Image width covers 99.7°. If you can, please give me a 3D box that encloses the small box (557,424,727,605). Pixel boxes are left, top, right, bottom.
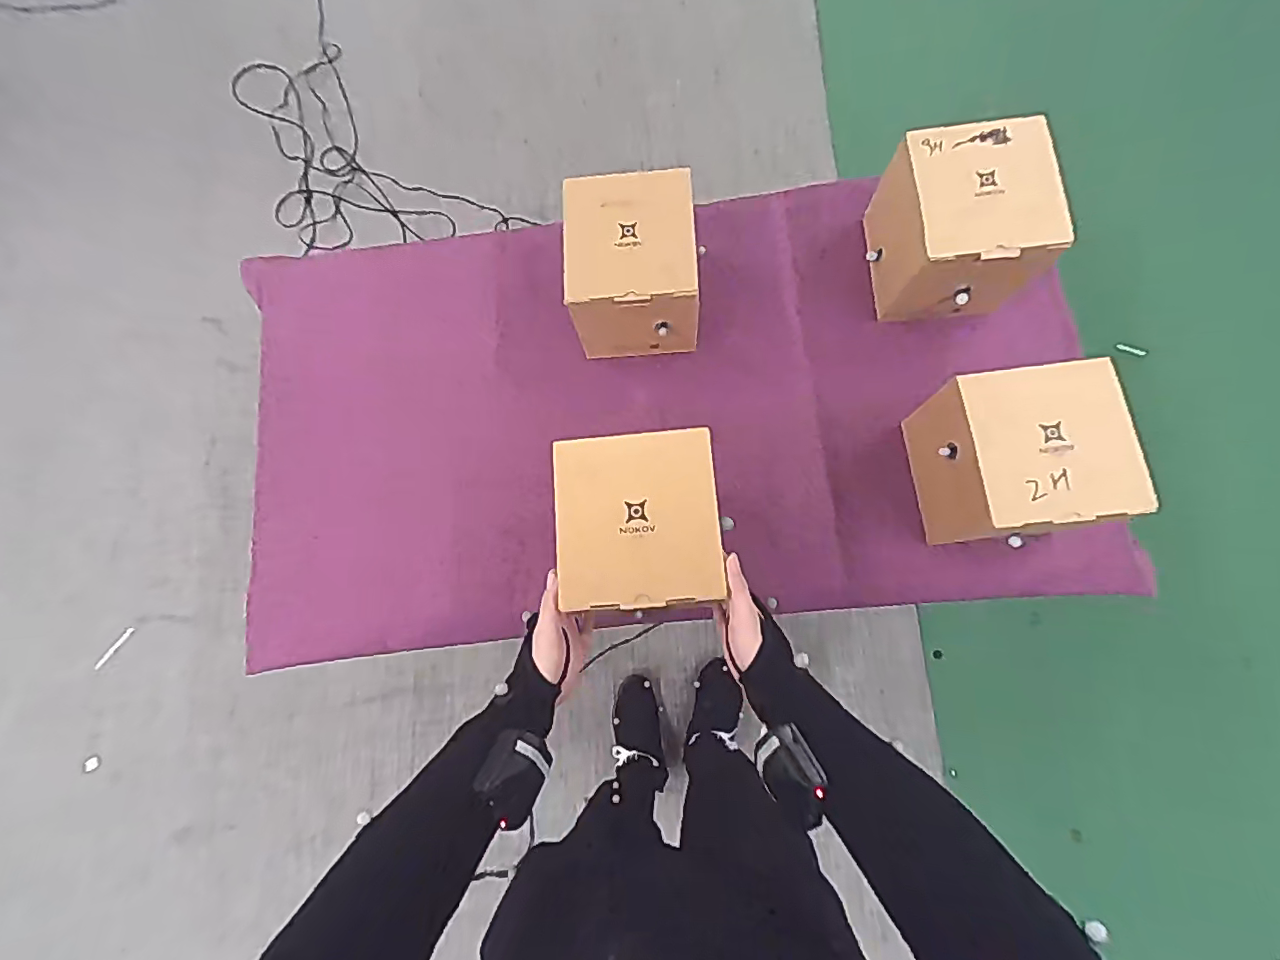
[{"bbox_3d":[0.002,0.049,0.623,0.168,0.176,0.179,-5,77,2],"label":"small box"}]

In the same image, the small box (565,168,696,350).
[{"bbox_3d":[-0.007,-0.291,0.751,0.168,0.176,0.179,-2,78,3],"label":"small box"}]

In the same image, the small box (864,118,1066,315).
[{"bbox_3d":[0.417,-0.334,0.724,0.168,0.176,0.179,-4,81,3],"label":"small box"}]

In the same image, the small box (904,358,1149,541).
[{"bbox_3d":[0.445,-0.027,0.658,0.168,0.176,0.179,-6,77,5],"label":"small box"}]
